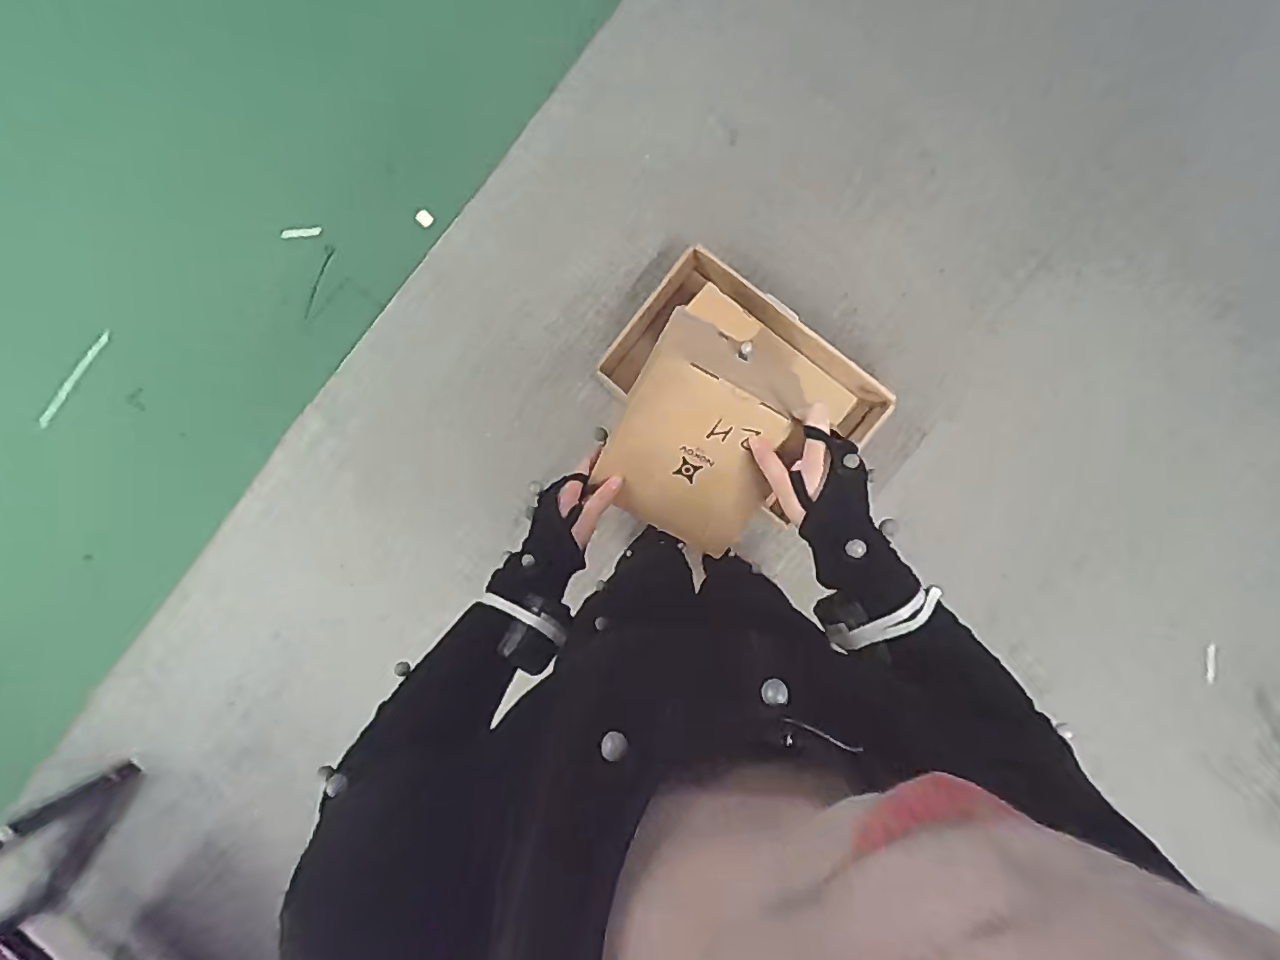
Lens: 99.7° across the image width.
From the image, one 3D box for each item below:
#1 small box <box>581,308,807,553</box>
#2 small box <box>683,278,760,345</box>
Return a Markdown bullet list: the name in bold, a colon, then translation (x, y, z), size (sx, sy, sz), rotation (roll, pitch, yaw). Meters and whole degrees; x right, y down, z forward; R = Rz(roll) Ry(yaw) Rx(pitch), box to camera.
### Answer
- **small box**: translation (0.058, -0.060, 0.596), size (0.168, 0.176, 0.179), rotation (27, 121, -8)
- **small box**: translation (0.172, -0.356, 1.341), size (0.168, 0.176, 0.179), rotation (44, 94, 2)
